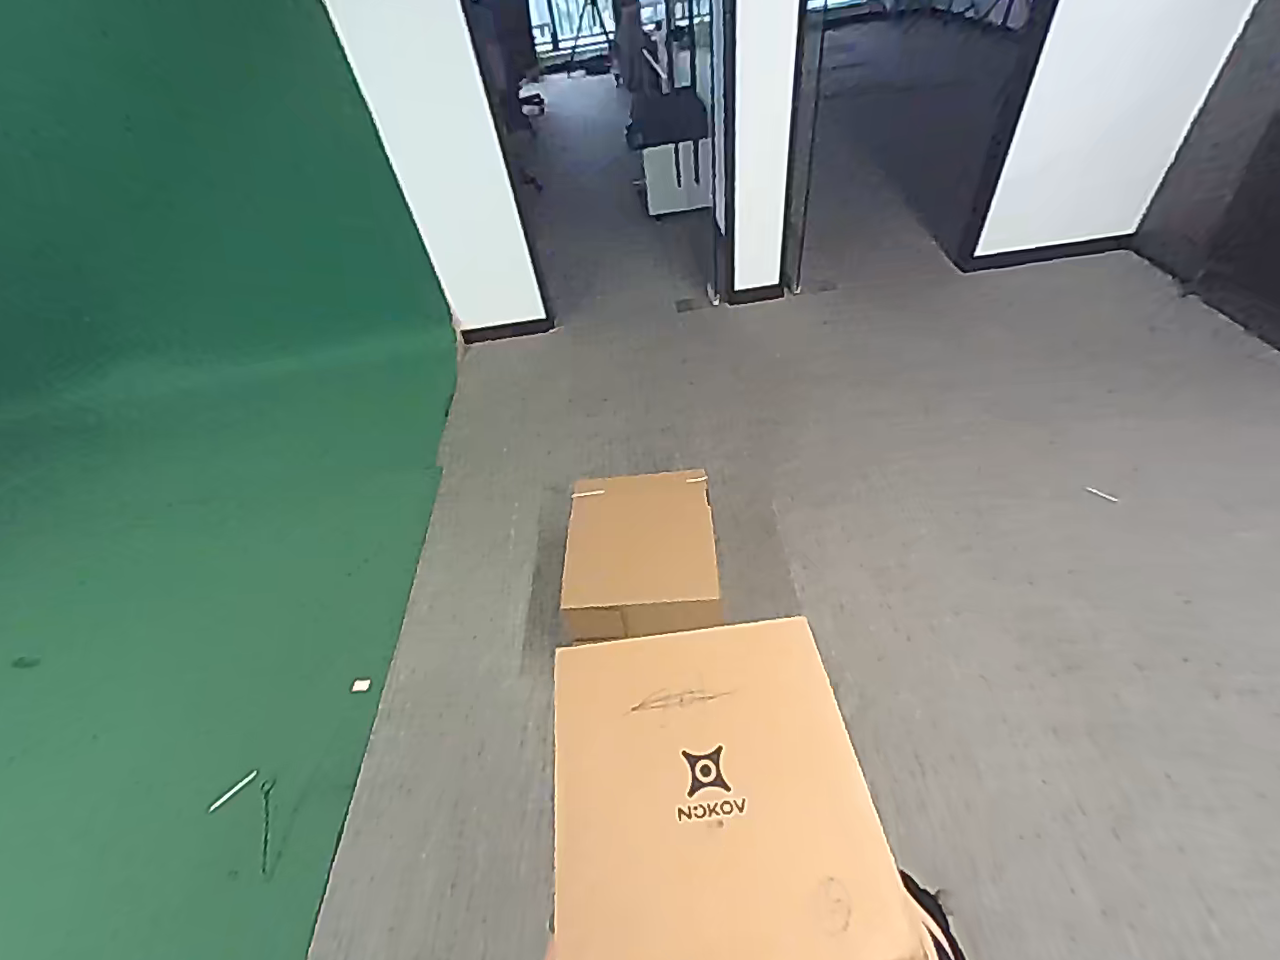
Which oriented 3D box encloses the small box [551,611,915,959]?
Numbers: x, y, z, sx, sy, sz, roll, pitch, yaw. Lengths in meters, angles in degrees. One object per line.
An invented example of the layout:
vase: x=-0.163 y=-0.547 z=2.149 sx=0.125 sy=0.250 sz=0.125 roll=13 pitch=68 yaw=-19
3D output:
small box: x=0.040 y=0.211 z=0.349 sx=0.168 sy=0.176 sz=0.179 roll=-6 pitch=46 yaw=-2
